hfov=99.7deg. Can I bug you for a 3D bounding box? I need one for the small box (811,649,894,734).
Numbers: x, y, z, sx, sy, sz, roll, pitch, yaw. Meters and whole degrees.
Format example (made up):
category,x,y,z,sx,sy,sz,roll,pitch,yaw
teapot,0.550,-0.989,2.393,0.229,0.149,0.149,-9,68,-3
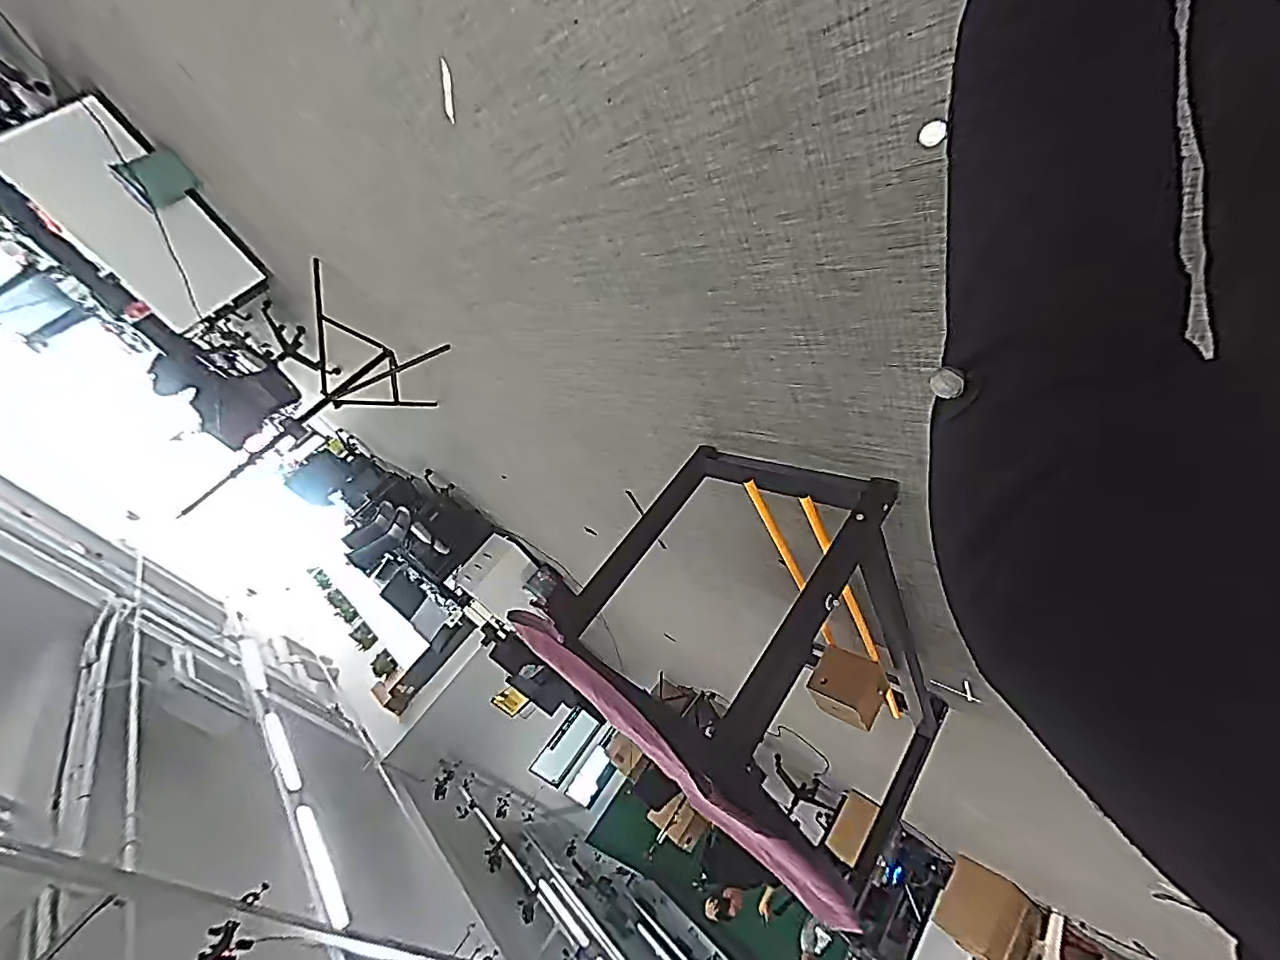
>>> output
category,x,y,z,sx,sy,sz,roll,pitch,yaw
small box,0.689,0.674,1.750,0.179,0.176,0.168,10,144,48
